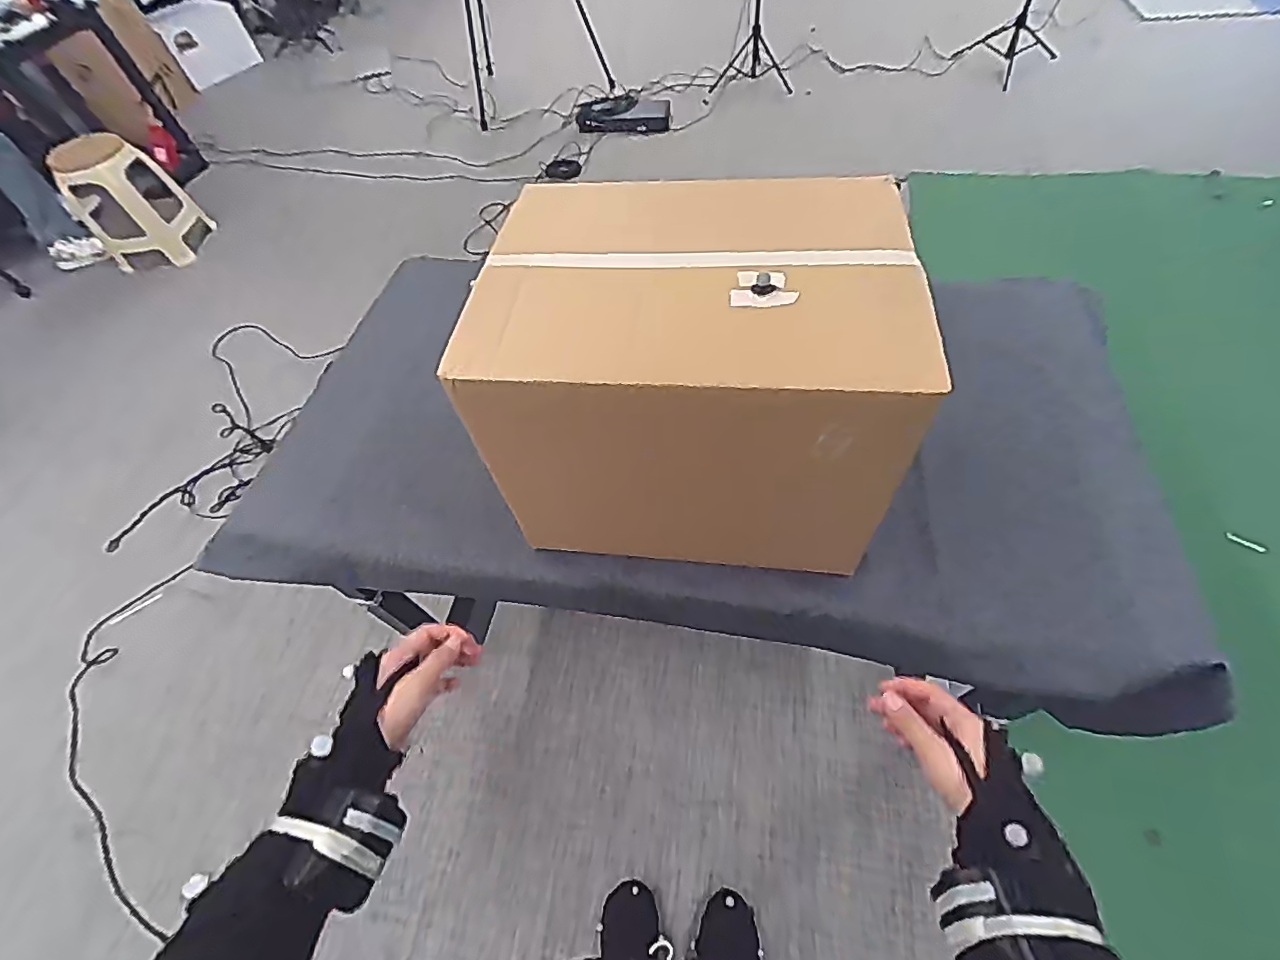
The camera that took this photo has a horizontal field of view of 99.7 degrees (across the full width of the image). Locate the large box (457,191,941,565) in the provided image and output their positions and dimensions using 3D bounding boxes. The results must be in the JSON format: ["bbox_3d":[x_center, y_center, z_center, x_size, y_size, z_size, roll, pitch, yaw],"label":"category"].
[{"bbox_3d":[0.063,-0.111,0.644,0.408,0.320,0.320,3,55,8],"label":"large box"}]
